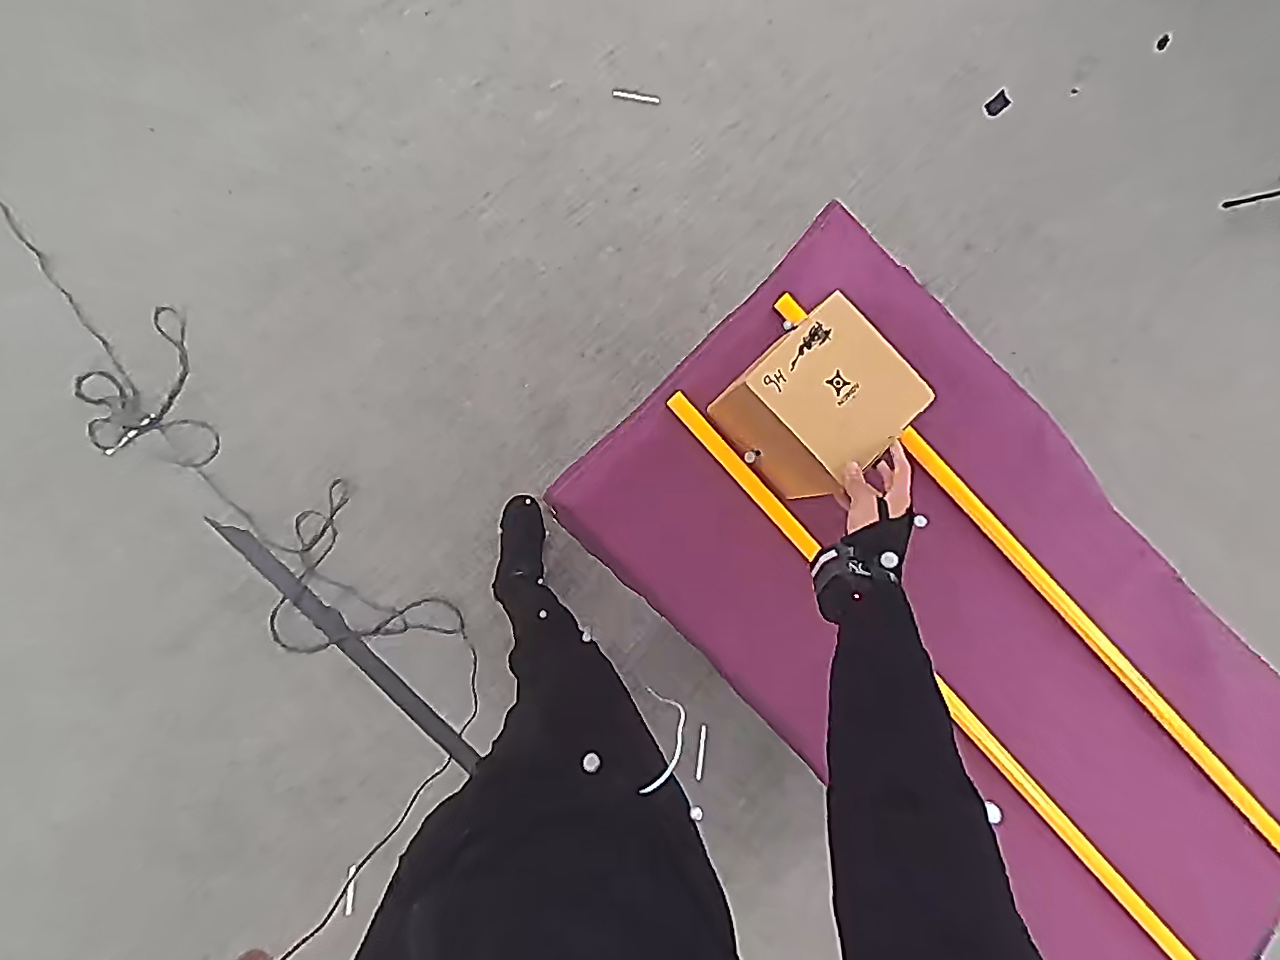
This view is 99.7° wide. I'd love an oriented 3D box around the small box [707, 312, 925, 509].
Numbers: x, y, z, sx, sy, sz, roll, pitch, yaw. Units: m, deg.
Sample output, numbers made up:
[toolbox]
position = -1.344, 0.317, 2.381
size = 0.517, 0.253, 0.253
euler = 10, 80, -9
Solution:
[small box]
position = 0.216, -0.079, 0.709
size = 0.168, 0.176, 0.179
euler = -43, 93, -9
